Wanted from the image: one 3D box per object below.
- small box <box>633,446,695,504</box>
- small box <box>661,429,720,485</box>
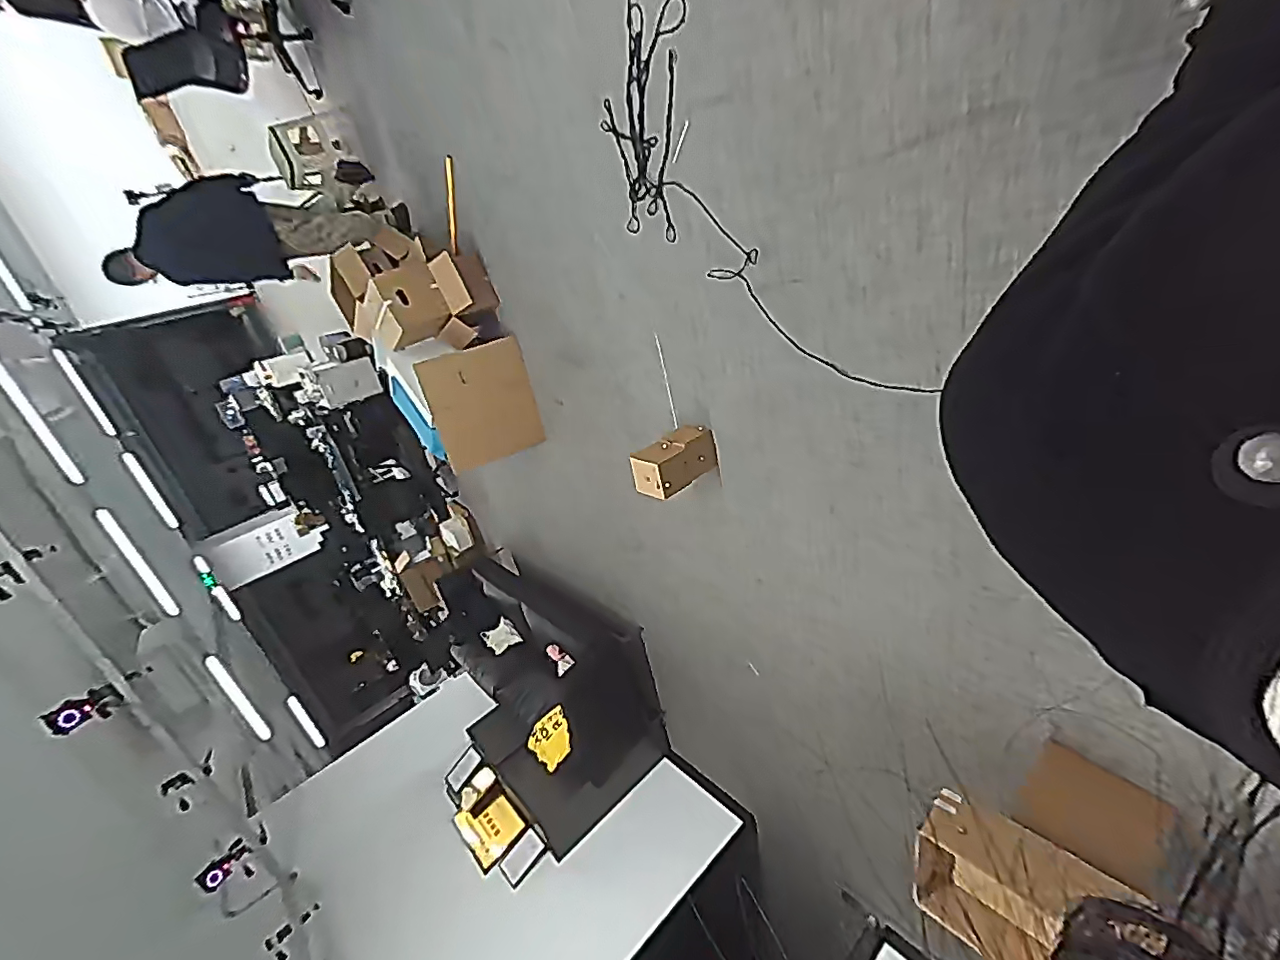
[{"bbox_3d":[0.100,-0.028,2.237,0.179,0.176,0.168,18,130,48],"label":"small box"},{"bbox_3d":[0.219,-0.104,2.321,0.168,0.176,0.179,17,129,49],"label":"small box"}]
